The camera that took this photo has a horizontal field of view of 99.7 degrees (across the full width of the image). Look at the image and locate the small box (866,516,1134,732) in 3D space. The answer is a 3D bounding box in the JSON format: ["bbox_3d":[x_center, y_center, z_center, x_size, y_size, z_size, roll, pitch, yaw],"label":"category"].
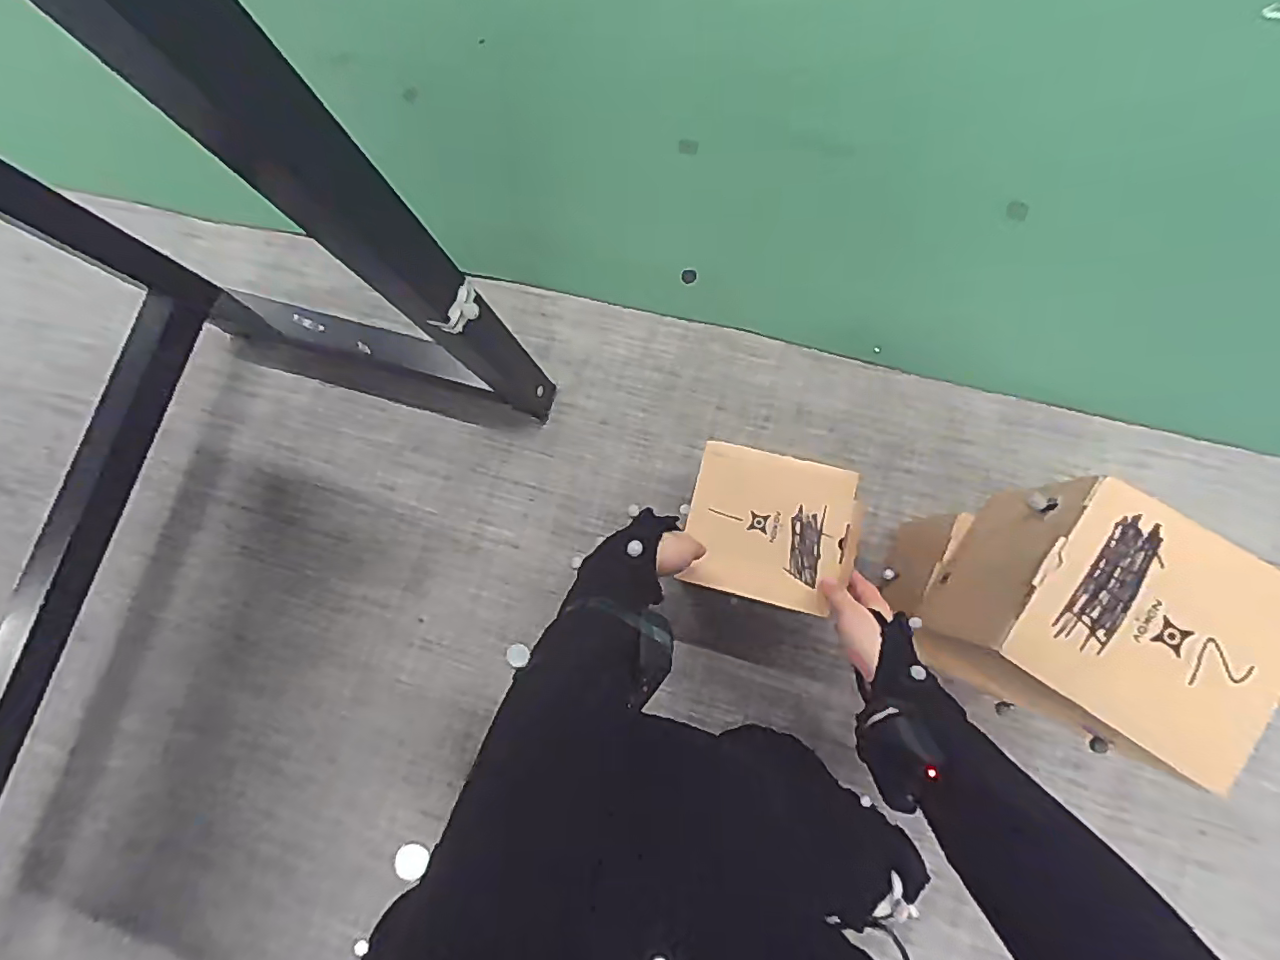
[{"bbox_3d":[0.398,0.153,0.632,0.179,0.176,0.168,25,85,9],"label":"small box"}]

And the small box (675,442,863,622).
[{"bbox_3d":[0.152,0.065,0.675,0.179,0.176,0.168,14,83,9],"label":"small box"}]
